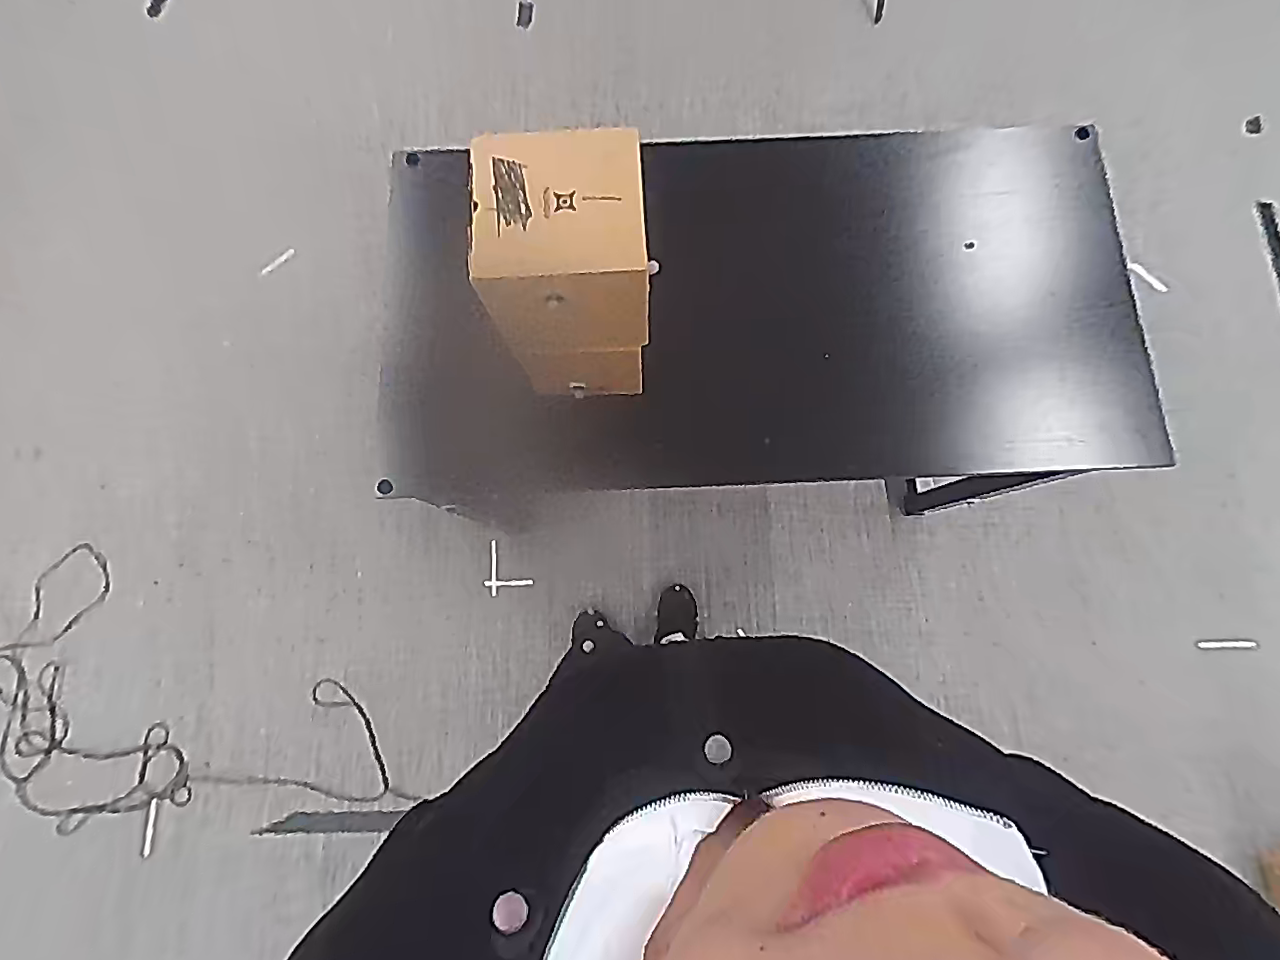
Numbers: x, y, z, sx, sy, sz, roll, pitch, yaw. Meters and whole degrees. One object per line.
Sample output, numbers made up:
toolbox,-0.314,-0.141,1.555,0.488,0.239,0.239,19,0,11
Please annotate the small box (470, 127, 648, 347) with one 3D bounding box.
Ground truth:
small box,-0.082,-0.264,0.621,0.179,0.176,0.168,-3,79,0

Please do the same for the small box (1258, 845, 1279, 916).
small box,1.645,0.991,1.270,0.168,0.176,0.179,-8,79,-1

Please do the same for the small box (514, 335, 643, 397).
small box,-0.081,-0.233,0.783,0.168,0.176,0.179,-2,80,1
